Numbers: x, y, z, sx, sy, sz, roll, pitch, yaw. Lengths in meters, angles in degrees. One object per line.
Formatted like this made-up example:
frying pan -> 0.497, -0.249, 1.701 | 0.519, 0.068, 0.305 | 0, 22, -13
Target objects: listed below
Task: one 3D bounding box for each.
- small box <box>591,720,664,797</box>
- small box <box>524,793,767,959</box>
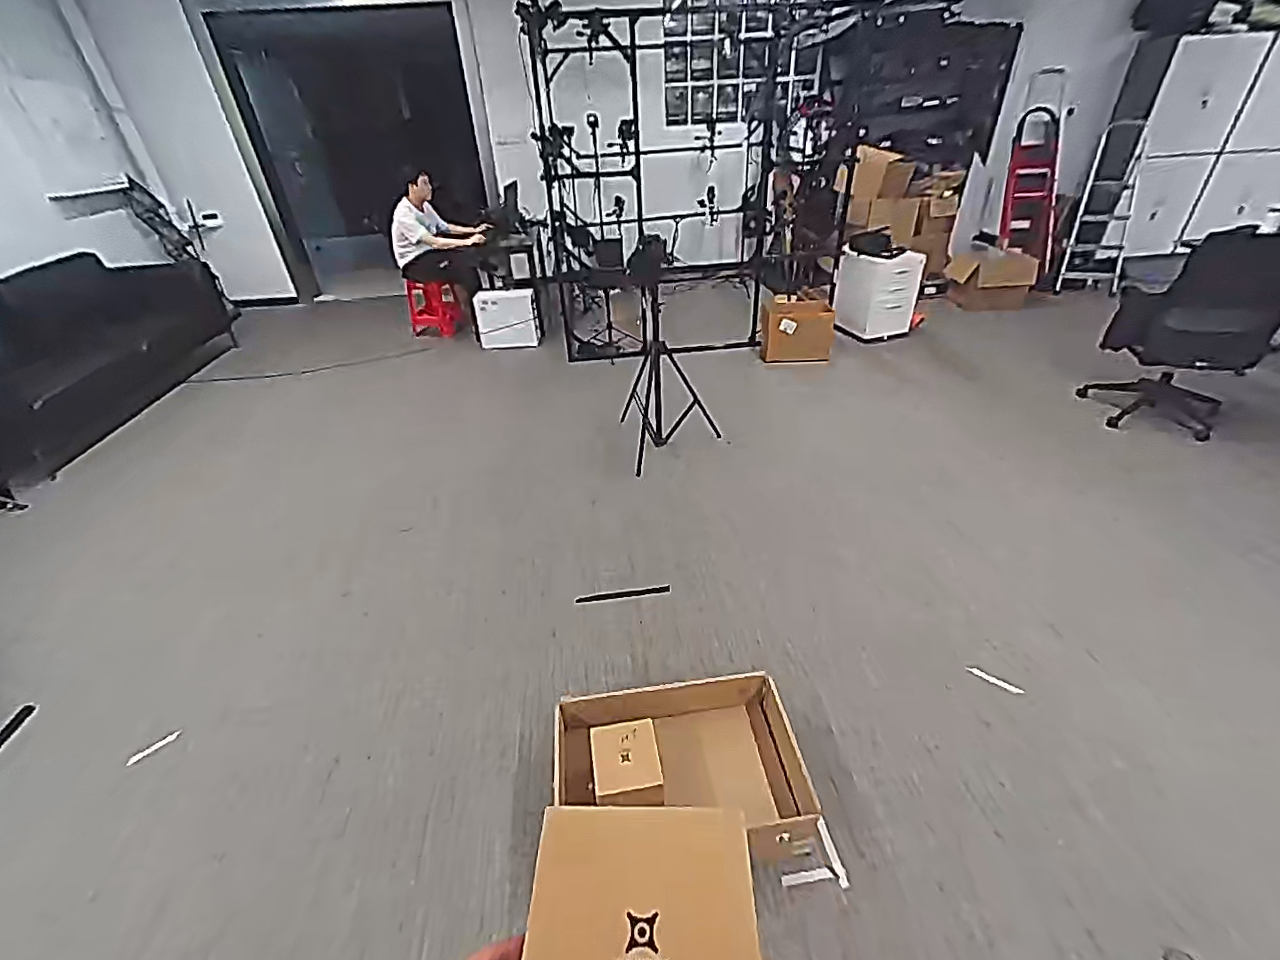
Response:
small box -> -0.031, 0.752, 1.386 | 0.168, 0.176, 0.179 | -6, 34, -7
small box -> 0.006, 0.376, 0.423 | 0.168, 0.176, 0.179 | -1, 36, 2
